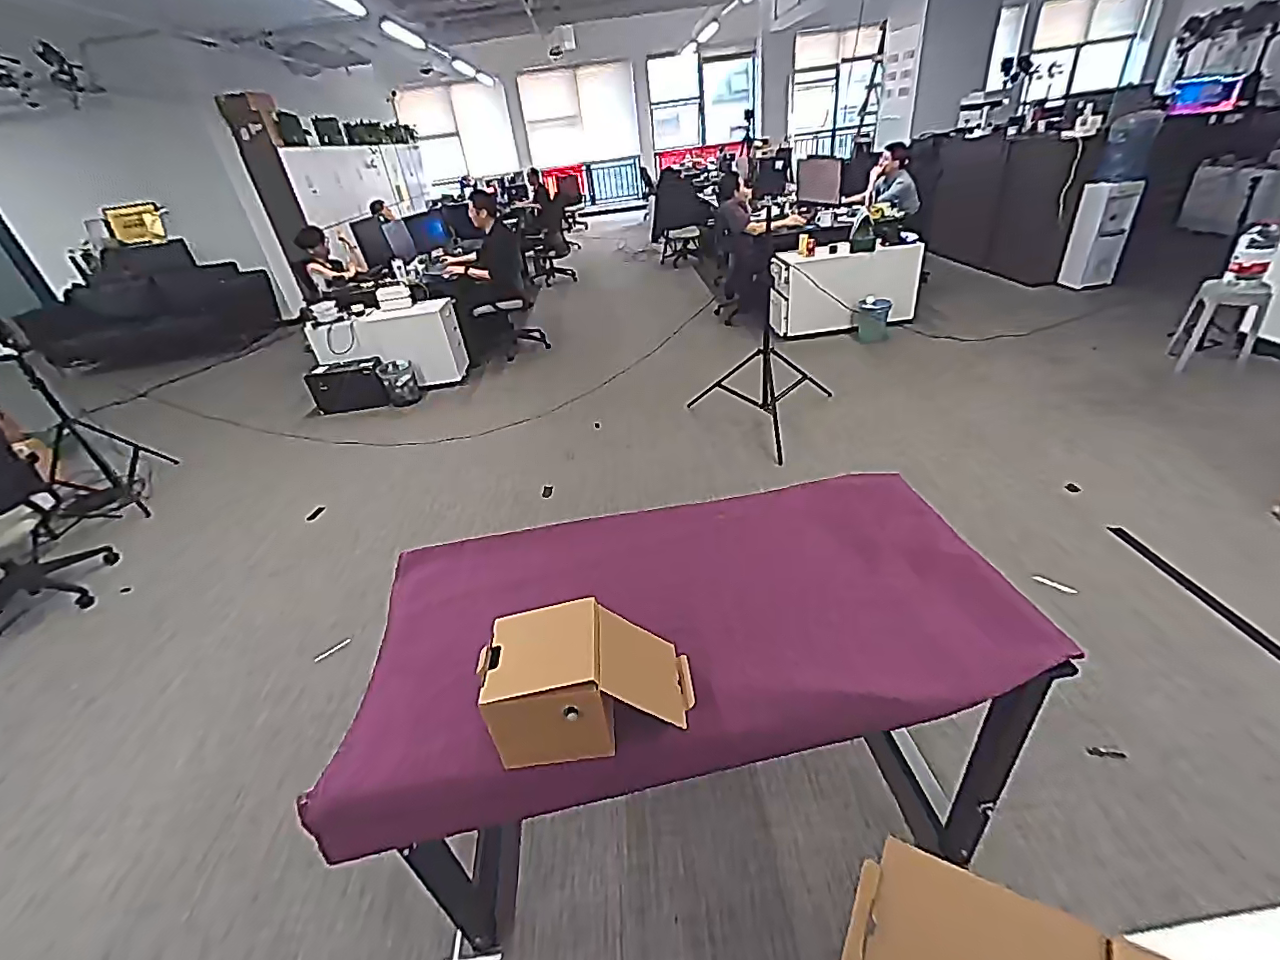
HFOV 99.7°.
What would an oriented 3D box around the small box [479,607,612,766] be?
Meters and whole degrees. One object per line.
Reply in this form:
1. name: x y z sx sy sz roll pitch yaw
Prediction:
1. small box: -0.138 0.332 0.874 0.179 0.176 0.168 -8 32 1
